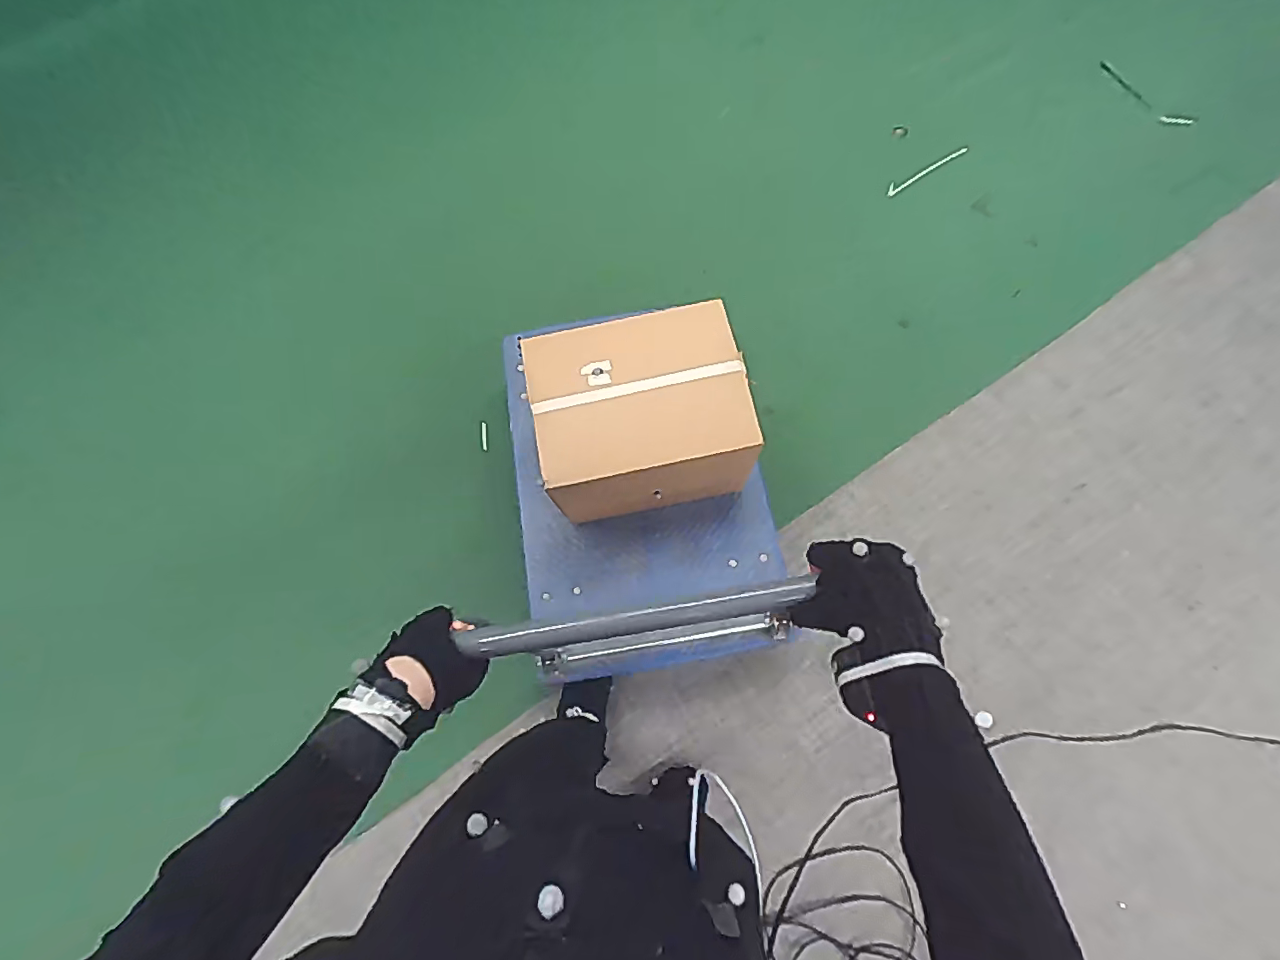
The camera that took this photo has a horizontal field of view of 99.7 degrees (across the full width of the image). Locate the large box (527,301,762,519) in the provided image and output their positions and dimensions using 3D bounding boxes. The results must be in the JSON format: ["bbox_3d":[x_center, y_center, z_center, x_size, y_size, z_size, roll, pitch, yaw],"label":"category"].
[{"bbox_3d":[0.010,-0.129,1.169,0.408,0.320,0.320,-13,73,0],"label":"large box"}]
